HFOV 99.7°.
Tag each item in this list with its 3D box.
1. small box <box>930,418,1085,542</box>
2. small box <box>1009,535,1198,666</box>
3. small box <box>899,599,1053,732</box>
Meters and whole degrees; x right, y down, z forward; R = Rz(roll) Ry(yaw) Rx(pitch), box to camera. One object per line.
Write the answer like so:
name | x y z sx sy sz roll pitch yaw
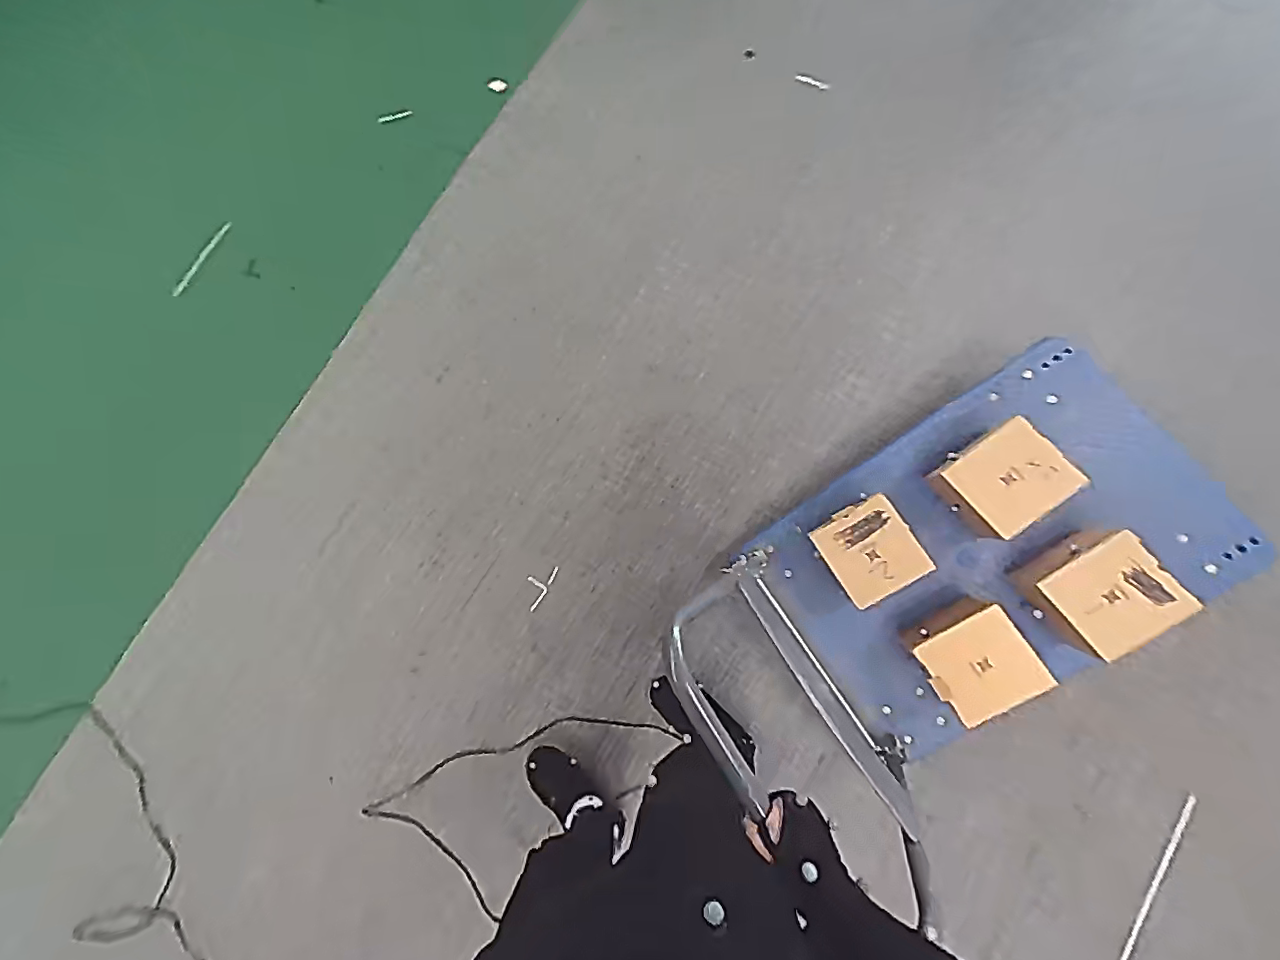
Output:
small box | 0.704 0.006 1.068 0.179 0.176 0.168 -40 76 10
small box | 0.841 0.213 1.007 0.179 0.176 0.168 -38 75 12
small box | 0.640 0.351 1.058 0.179 0.176 0.168 -34 76 12
